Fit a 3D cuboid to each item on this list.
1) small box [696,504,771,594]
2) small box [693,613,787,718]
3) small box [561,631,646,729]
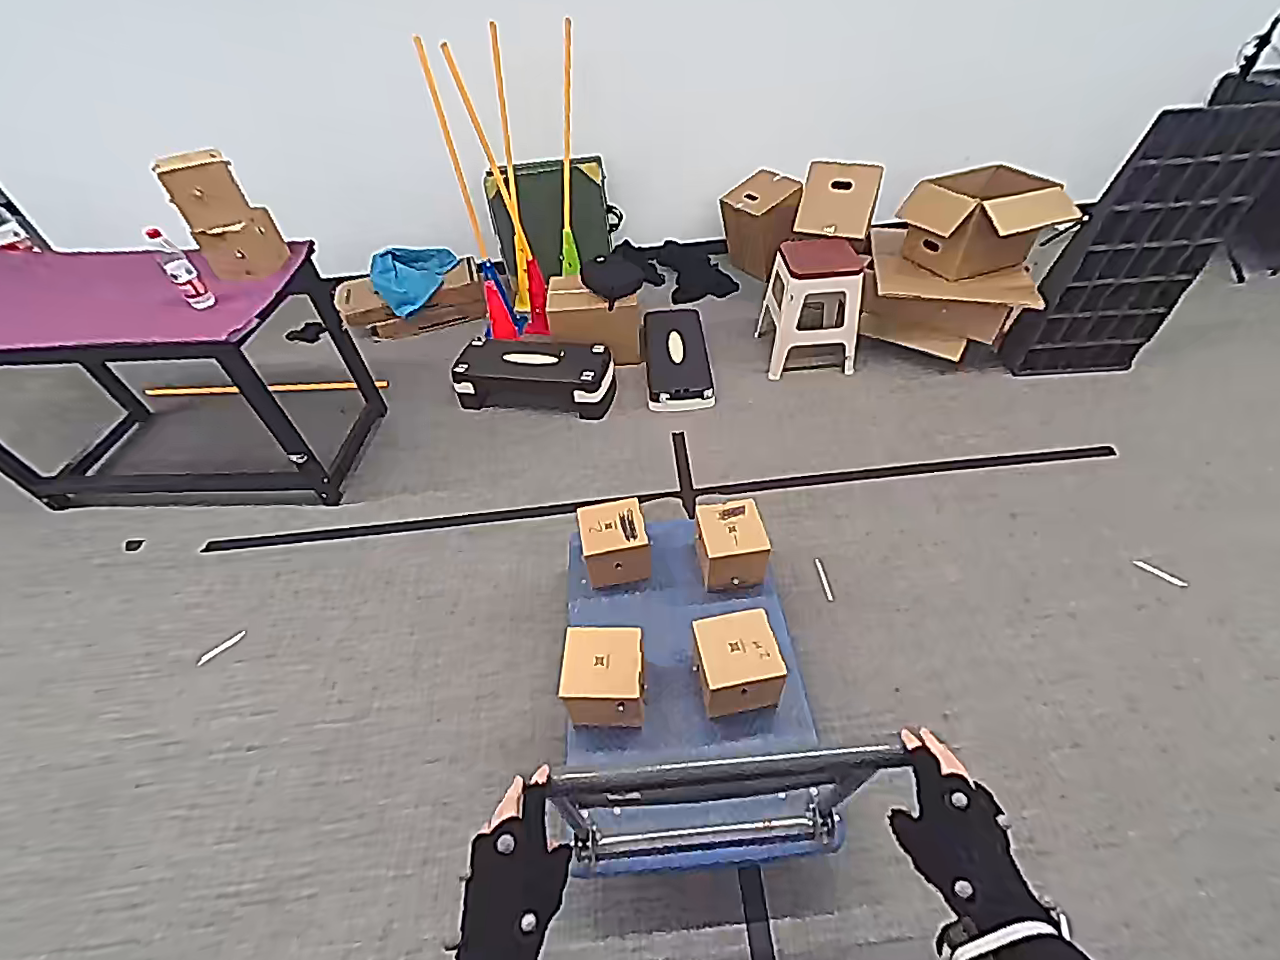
[{"bbox_3d":[0.251,0.192,1.499,0.168,0.176,0.179,-8,48,-3],"label":"small box"},{"bbox_3d":[0.227,0.439,1.269,0.179,0.176,0.168,-10,47,-4],"label":"small box"},{"bbox_3d":[-0.077,0.470,1.266,0.179,0.176,0.168,0,47,2],"label":"small box"}]
